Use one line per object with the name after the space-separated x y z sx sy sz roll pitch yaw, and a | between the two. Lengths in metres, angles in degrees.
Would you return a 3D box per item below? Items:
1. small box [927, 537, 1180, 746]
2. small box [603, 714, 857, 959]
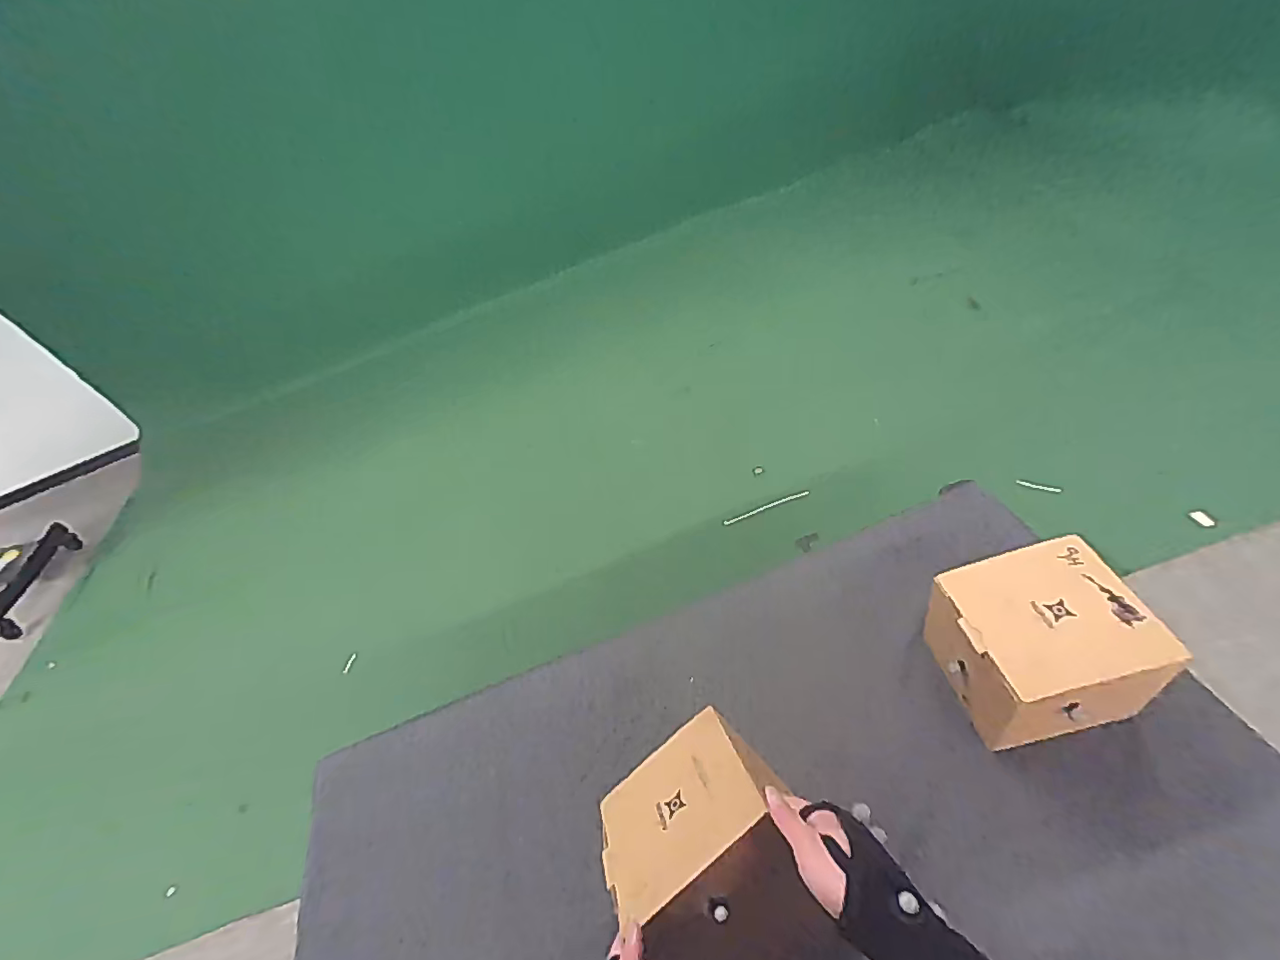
0.475 0.202 0.662 0.179 0.176 0.168 -18 45 5 | small box
0.087 0.401 0.571 0.179 0.176 0.168 -40 14 -3 | small box
